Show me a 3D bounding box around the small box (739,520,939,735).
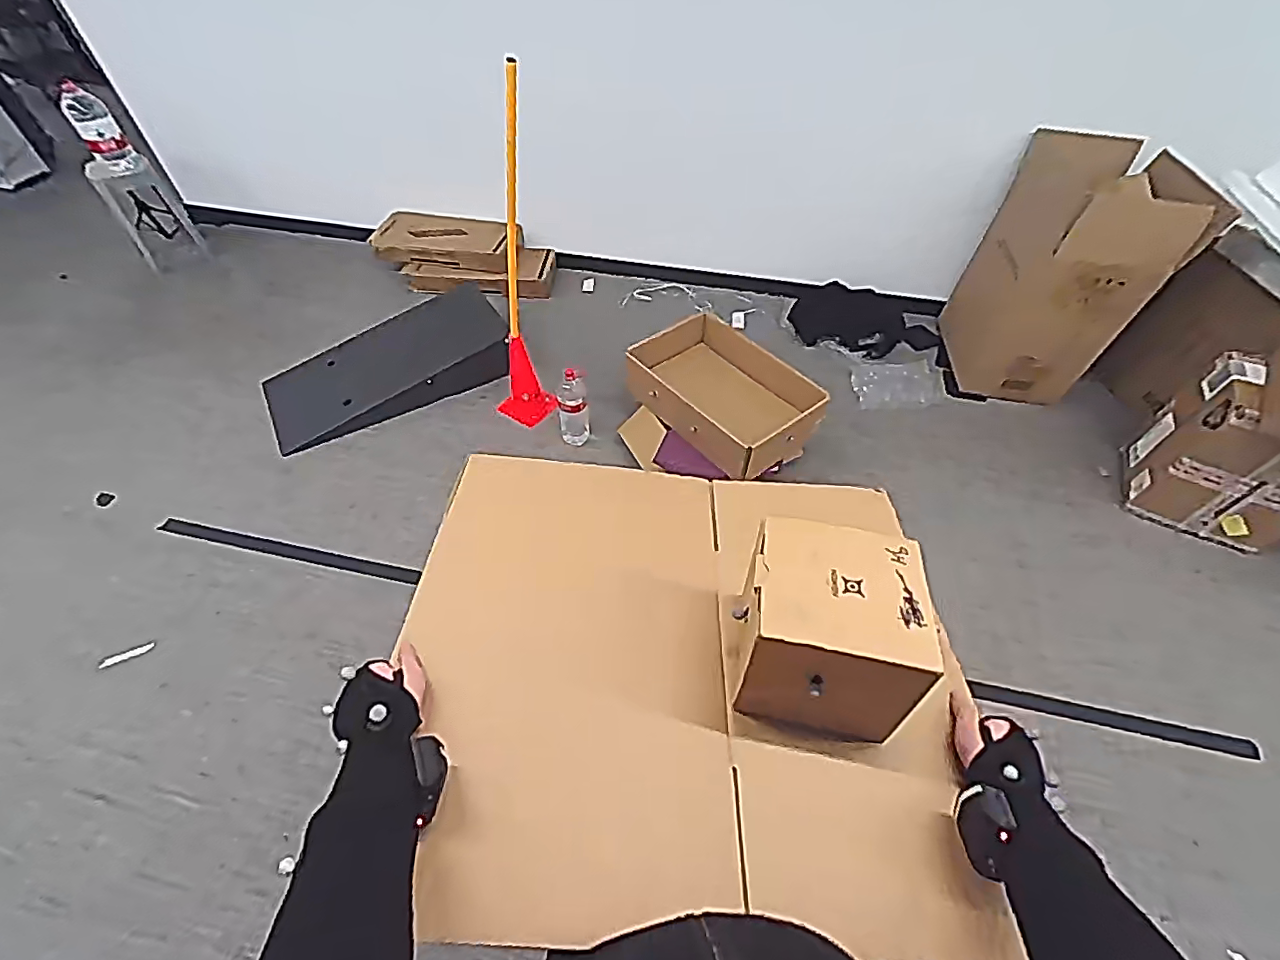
[{"bbox_3d":[0.216,0.173,0.633,0.179,0.176,0.168,9,44,8],"label":"small box"}]
